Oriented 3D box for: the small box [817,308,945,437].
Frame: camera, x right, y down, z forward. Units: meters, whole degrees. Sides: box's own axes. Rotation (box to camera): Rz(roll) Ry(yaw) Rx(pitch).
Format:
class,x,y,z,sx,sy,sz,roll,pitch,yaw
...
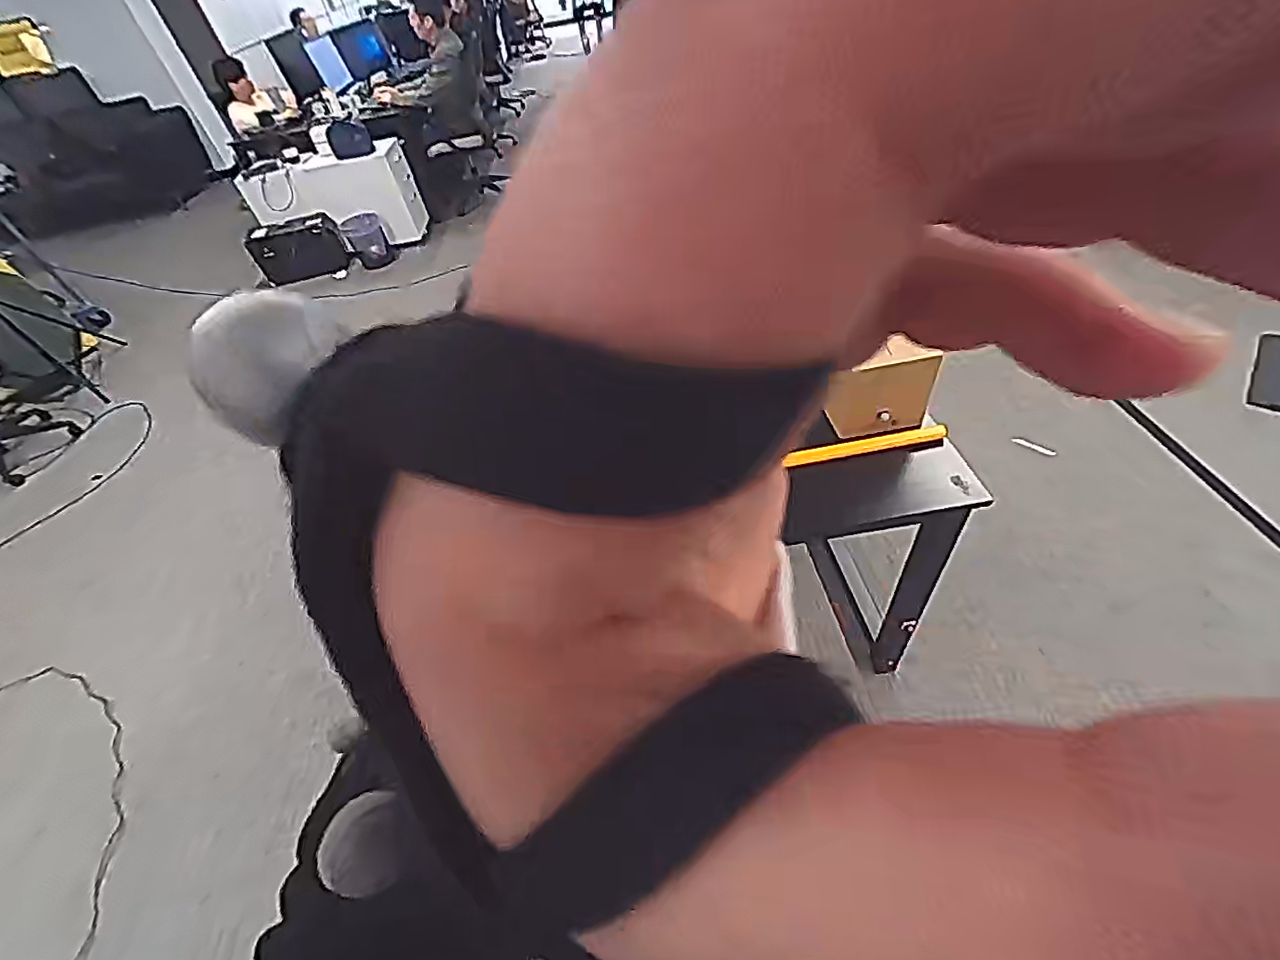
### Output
class,x,y,z,sx,sy,sz,roll,pitch,yaw
small box,0.460,-0.210,1.067,0.168,0.176,0.179,-10,47,2
